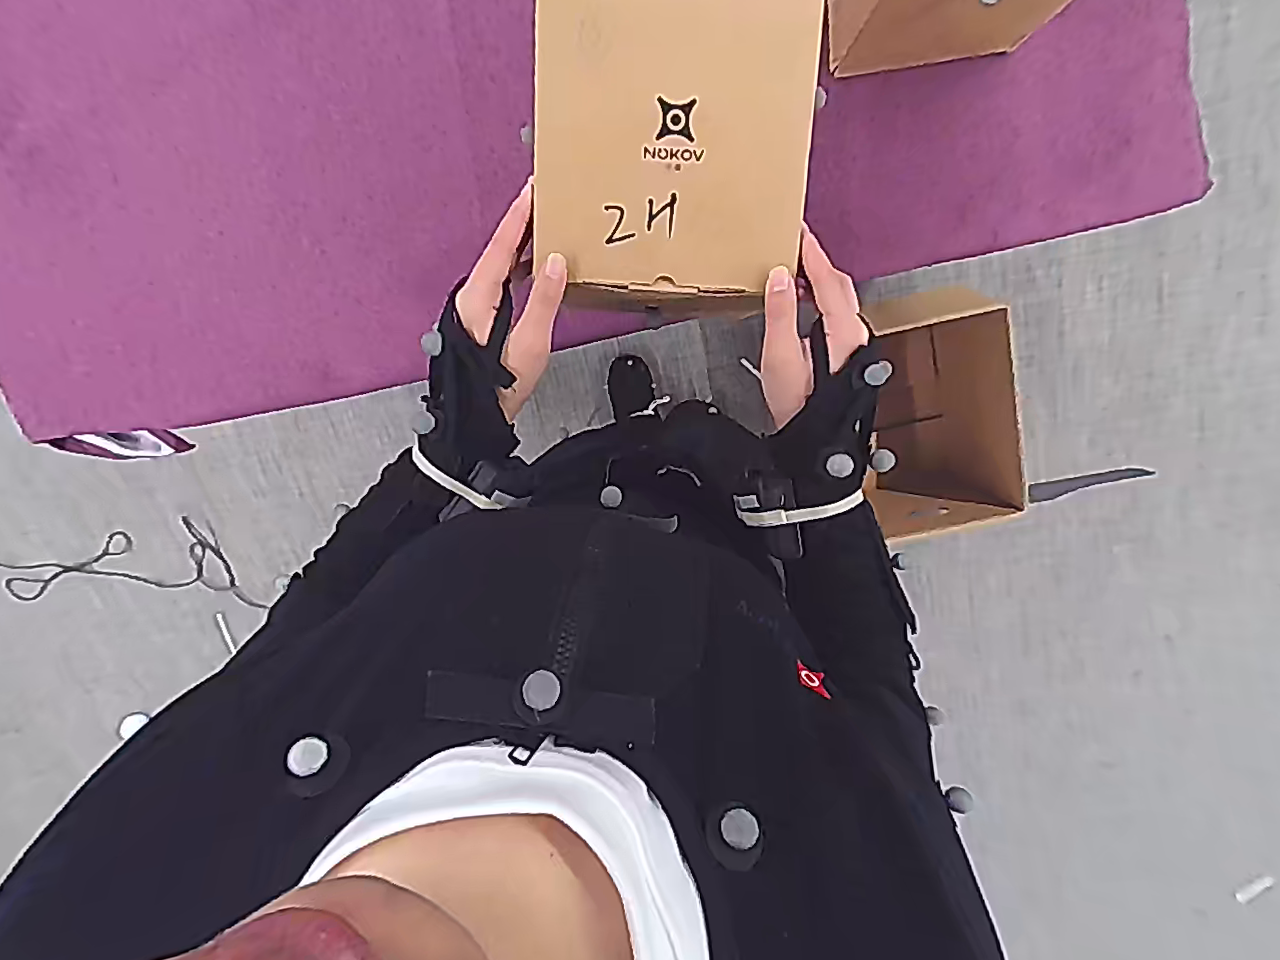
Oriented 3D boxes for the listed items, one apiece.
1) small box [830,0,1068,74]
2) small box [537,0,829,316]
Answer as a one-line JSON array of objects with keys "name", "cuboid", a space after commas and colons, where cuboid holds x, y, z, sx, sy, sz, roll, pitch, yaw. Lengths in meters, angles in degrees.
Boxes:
[{"name": "small box", "cuboid": [0.263, -0.463, 0.428, 0.179, 0.176, 0.168, -6, 102, 4]}, {"name": "small box", "cuboid": [0.021, -0.223, 0.398, 0.168, 0.176, 0.179, 3, 103, -1]}]
